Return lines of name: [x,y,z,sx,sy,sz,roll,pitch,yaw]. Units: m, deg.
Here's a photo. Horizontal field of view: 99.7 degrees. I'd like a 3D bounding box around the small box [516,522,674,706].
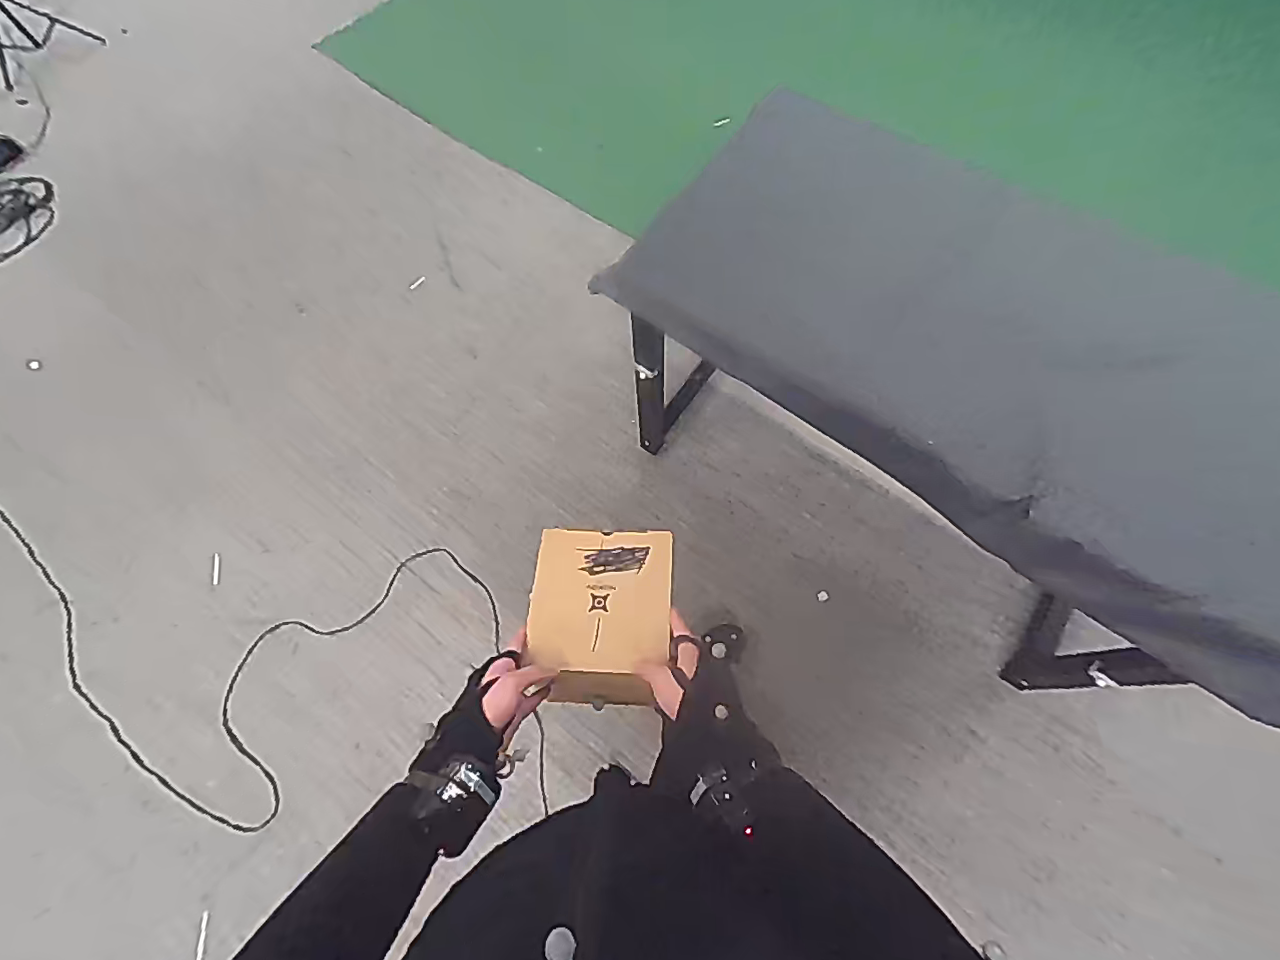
small box: [-0.043,0.171,0.682,0.168,0.176,0.179,1,56,4]
